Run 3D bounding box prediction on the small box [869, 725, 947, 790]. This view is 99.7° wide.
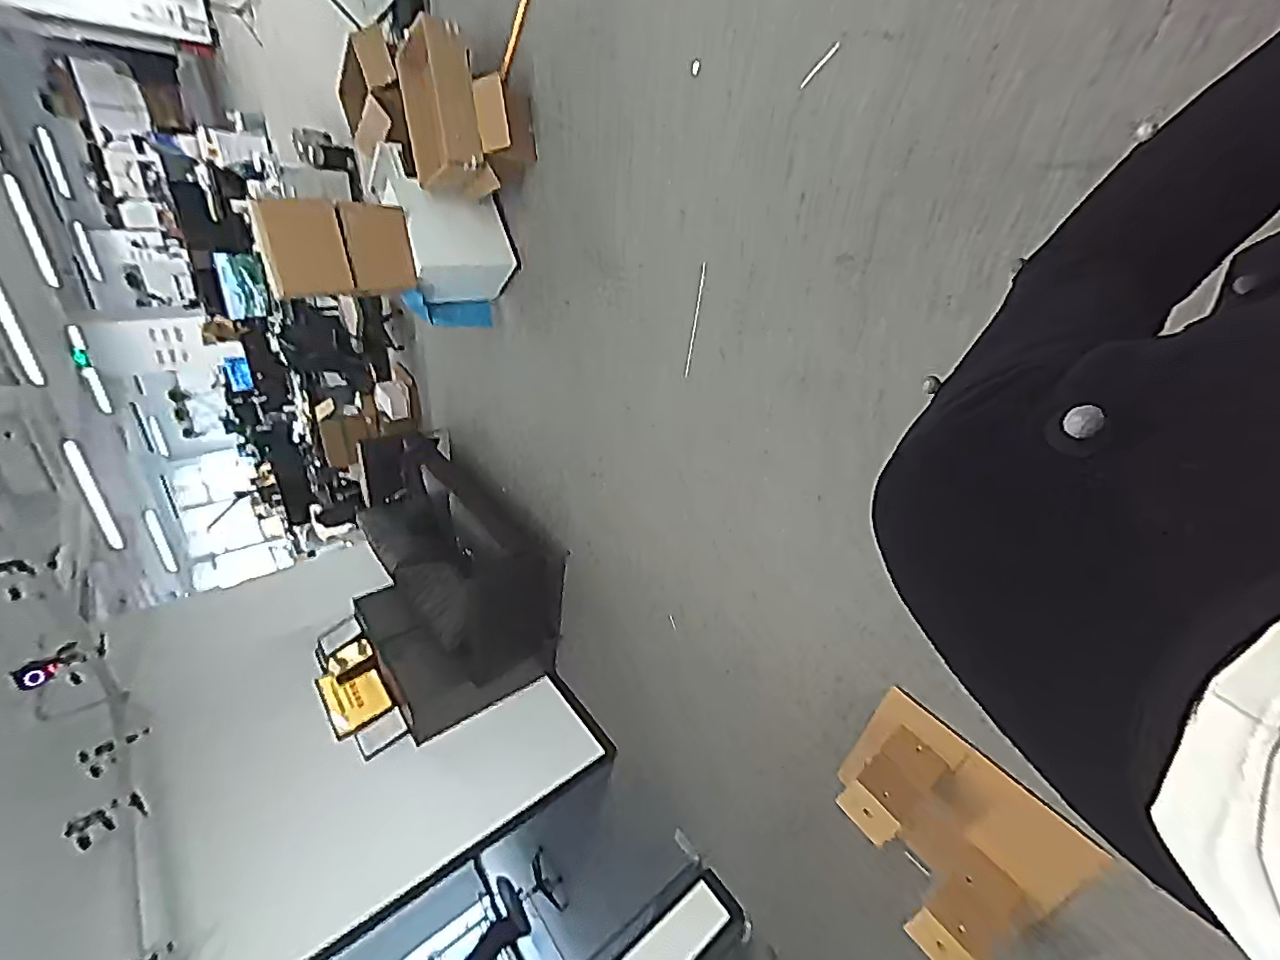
[{"bbox_3d":[0.928,0.996,1.896,0.179,0.176,0.168,40,134,35],"label":"small box"}]

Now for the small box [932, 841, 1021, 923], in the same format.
[{"bbox_3d":[1.116,1.352,1.802,0.179,0.176,0.168,39,133,36],"label":"small box"}]

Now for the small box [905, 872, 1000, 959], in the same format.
[{"bbox_3d":[0.989,1.390,1.710,0.179,0.176,0.168,38,132,35],"label":"small box"}]

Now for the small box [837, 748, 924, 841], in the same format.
[{"bbox_3d":[0.803,1.041,1.799,0.179,0.176,0.168,42,134,33],"label":"small box"}]
